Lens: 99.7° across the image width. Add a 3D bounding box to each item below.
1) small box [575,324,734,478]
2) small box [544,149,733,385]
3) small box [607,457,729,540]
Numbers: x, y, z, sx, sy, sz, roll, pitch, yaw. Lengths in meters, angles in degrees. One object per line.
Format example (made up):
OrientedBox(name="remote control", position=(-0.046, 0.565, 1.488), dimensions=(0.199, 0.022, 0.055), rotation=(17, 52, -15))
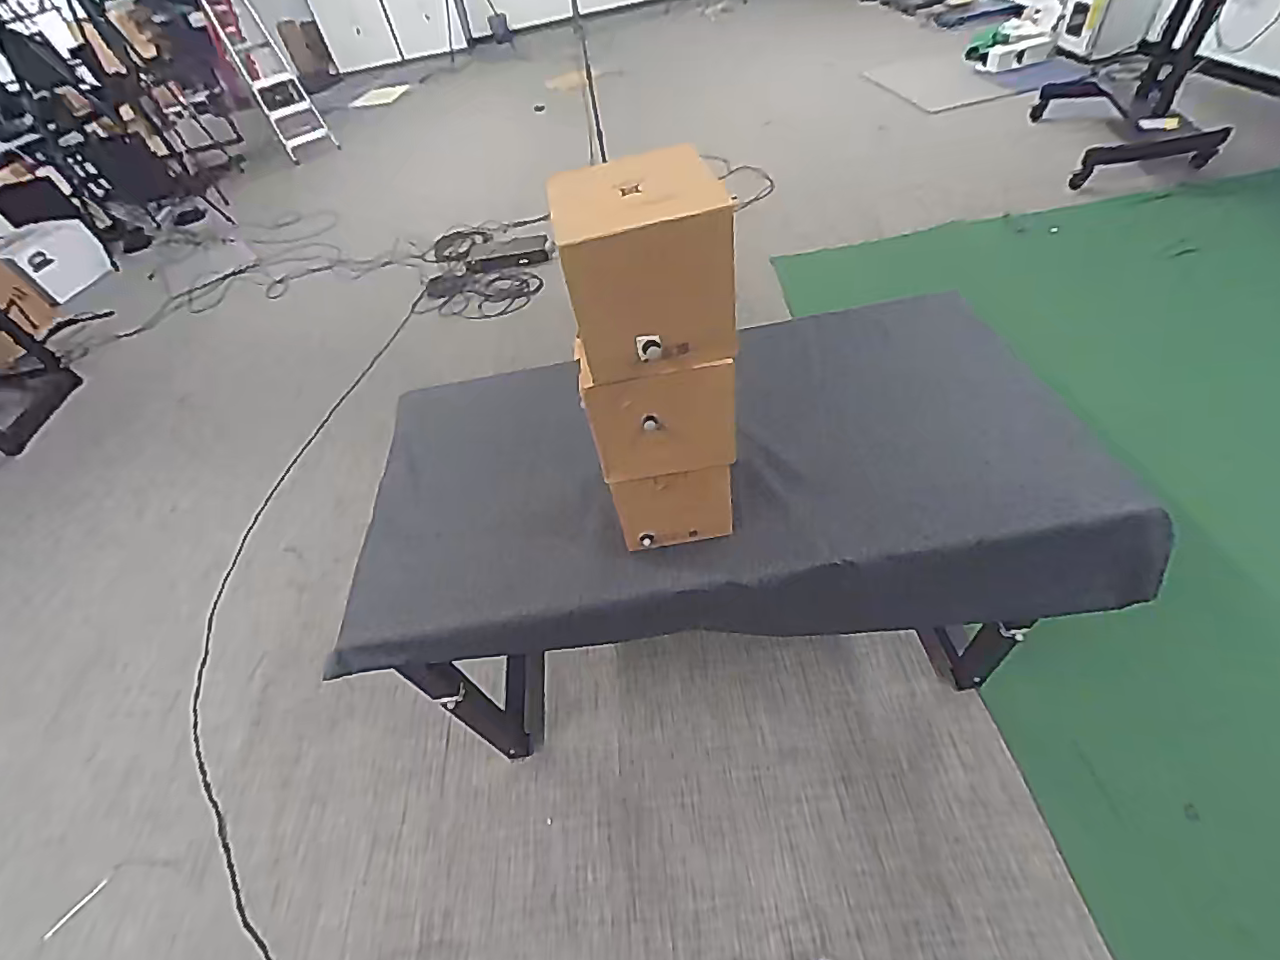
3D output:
OrientedBox(name="small box", position=(0.021, -0.123, 0.723), dimensions=(0.179, 0.176, 0.168), rotation=(-12, 46, 1))
OrientedBox(name="small box", position=(0.000, -0.234, 0.603), dimensions=(0.168, 0.176, 0.179), rotation=(-15, 49, 0))
OrientedBox(name="small box", position=(0.042, -0.021, 0.846), dimensions=(0.168, 0.176, 0.179), rotation=(-10, 47, 3))
